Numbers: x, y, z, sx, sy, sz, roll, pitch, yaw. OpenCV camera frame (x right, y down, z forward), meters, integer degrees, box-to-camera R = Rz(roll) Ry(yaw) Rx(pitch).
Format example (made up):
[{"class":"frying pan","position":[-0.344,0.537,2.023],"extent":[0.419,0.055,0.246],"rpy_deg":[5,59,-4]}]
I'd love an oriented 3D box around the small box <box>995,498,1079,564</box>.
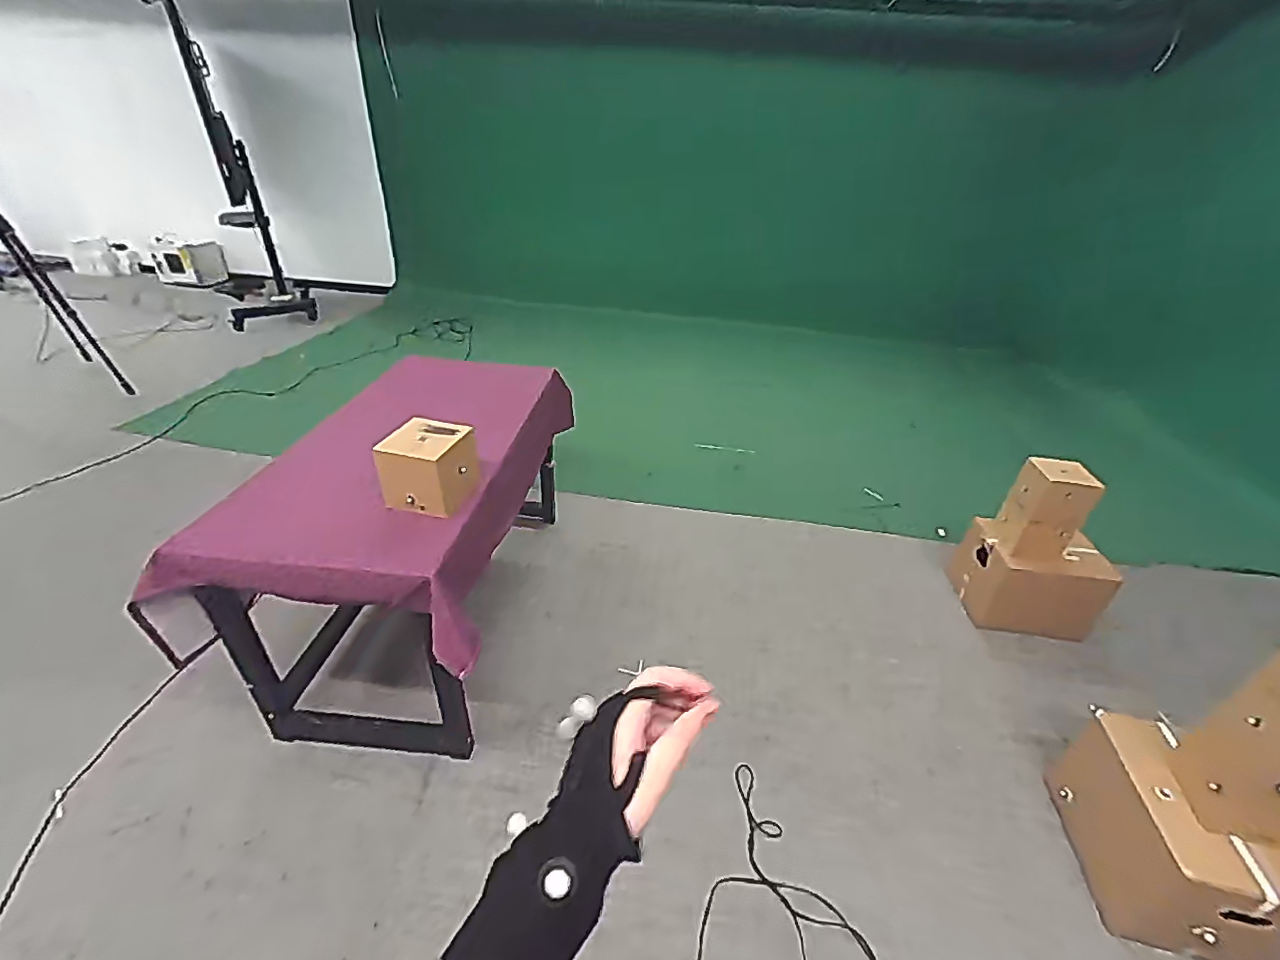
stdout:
[{"class":"small box","position":[1.448,0.190,1.990],"extent":[0.179,0.176,0.168],"rpy_deg":[8,33,5]}]

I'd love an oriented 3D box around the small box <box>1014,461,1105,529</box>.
[{"class":"small box","position":[1.455,0.055,1.896],"extent":[0.179,0.176,0.168],"rpy_deg":[8,33,5]}]

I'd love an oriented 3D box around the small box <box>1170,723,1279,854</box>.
[{"class":"small box","position":[1.353,0.686,1.198],"extent":[0.168,0.176,0.179],"rpy_deg":[14,33,11]}]

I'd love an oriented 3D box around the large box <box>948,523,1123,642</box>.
[{"class":"large box","position":[1.521,0.400,2.124],"extent":[0.408,0.320,0.320],"rpy_deg":[7,32,3]}]
